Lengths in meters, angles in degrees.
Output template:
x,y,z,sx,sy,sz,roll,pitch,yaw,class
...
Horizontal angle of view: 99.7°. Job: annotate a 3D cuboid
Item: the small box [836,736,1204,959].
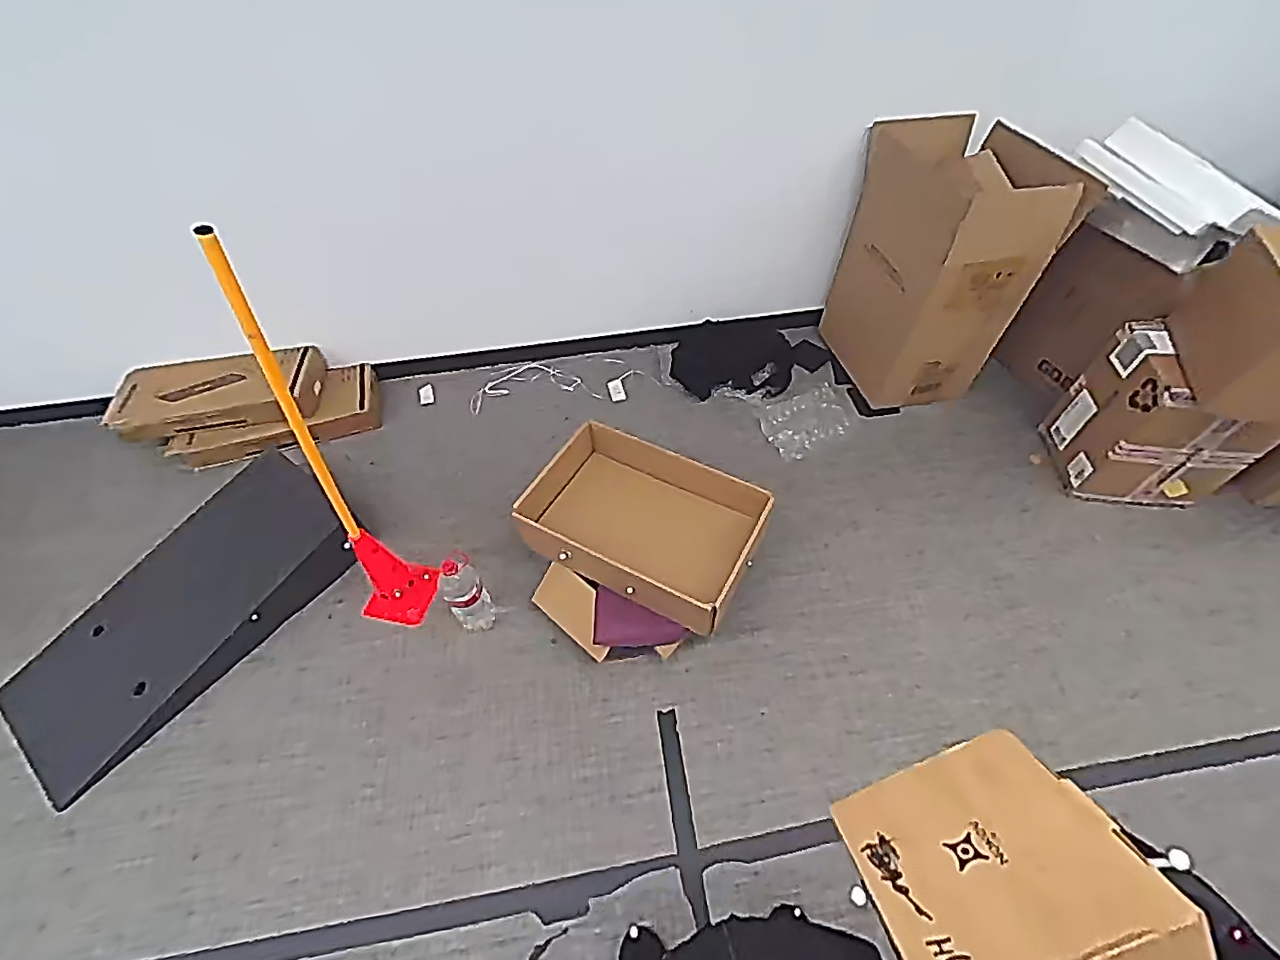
x,y,z,sx,sy,sz,roll,pitch,yaw,class
0.293,0.355,0.433,0.179,0.176,0.168,-25,13,3,small box
